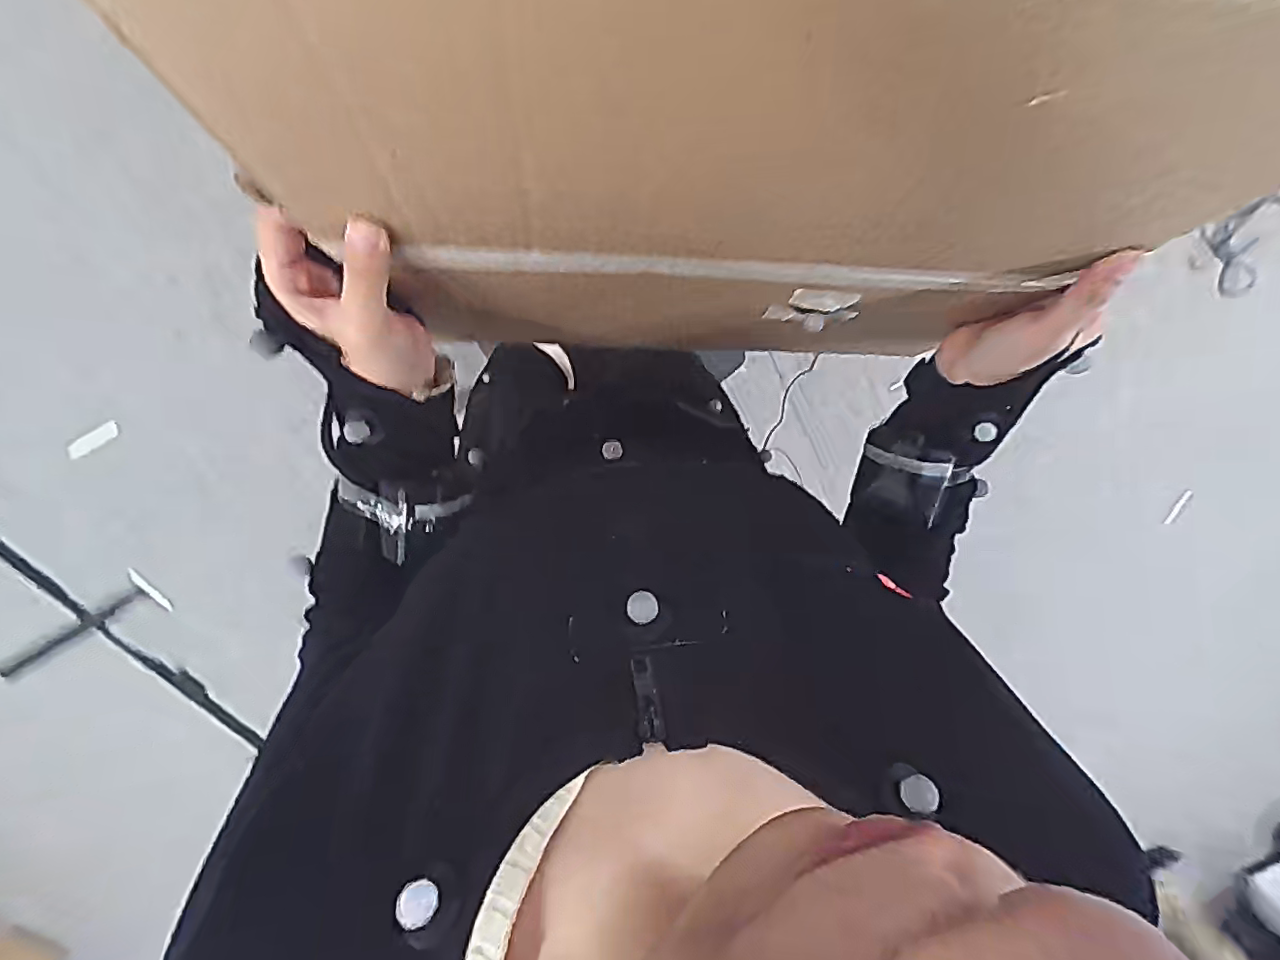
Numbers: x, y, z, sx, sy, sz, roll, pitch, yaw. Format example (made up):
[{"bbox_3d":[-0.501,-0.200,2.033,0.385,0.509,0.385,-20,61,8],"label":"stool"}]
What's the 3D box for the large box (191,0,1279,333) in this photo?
[{"bbox_3d":[0.059,-0.275,0.267,0.408,0.320,0.320,0,87,-7],"label":"large box"}]
